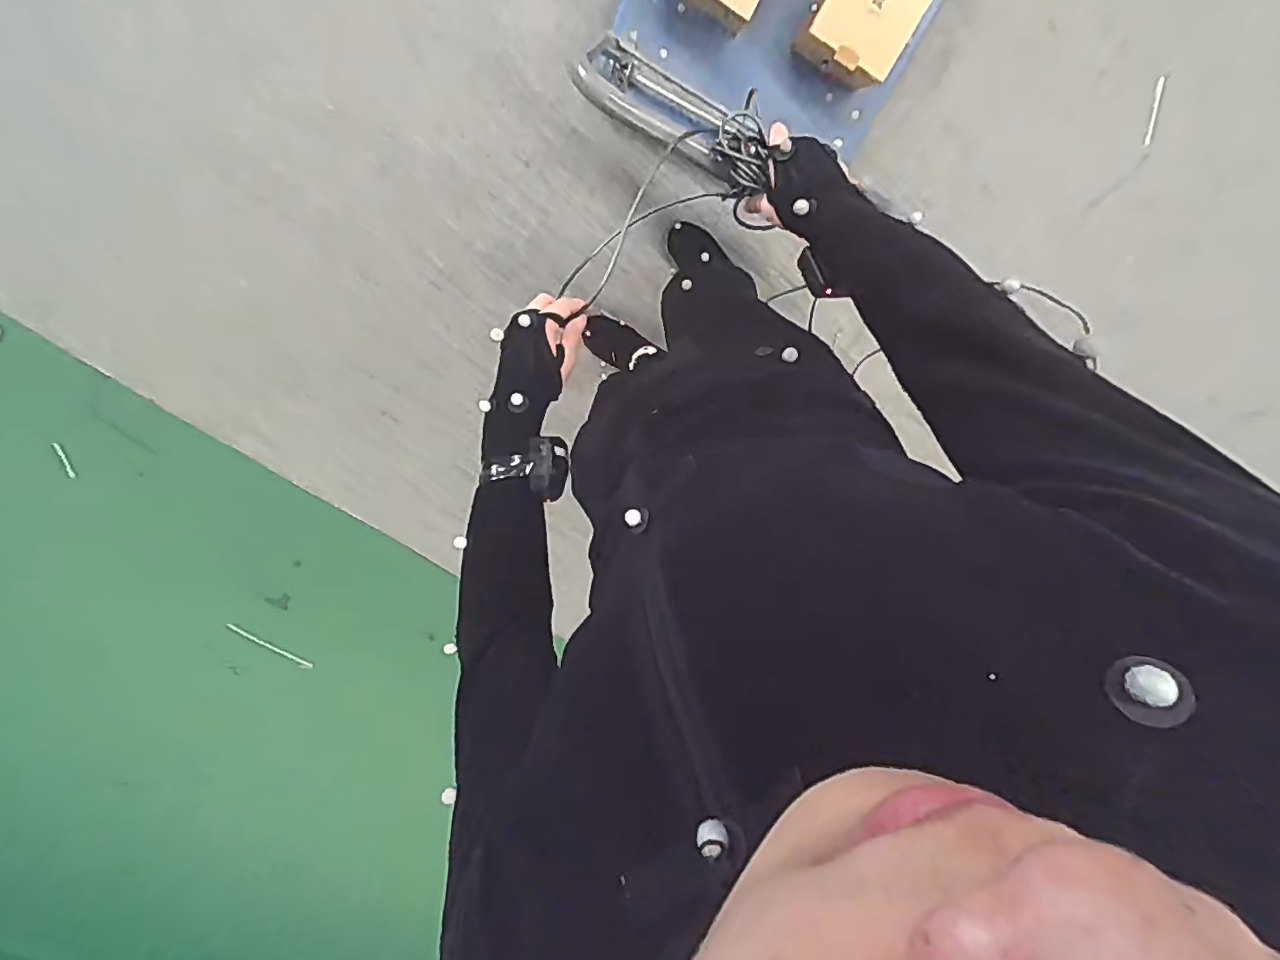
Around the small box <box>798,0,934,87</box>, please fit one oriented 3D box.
[{"bbox_3d":[0.416,-0.868,1.001,0.168,0.176,0.179,24,121,-12],"label":"small box"}]
